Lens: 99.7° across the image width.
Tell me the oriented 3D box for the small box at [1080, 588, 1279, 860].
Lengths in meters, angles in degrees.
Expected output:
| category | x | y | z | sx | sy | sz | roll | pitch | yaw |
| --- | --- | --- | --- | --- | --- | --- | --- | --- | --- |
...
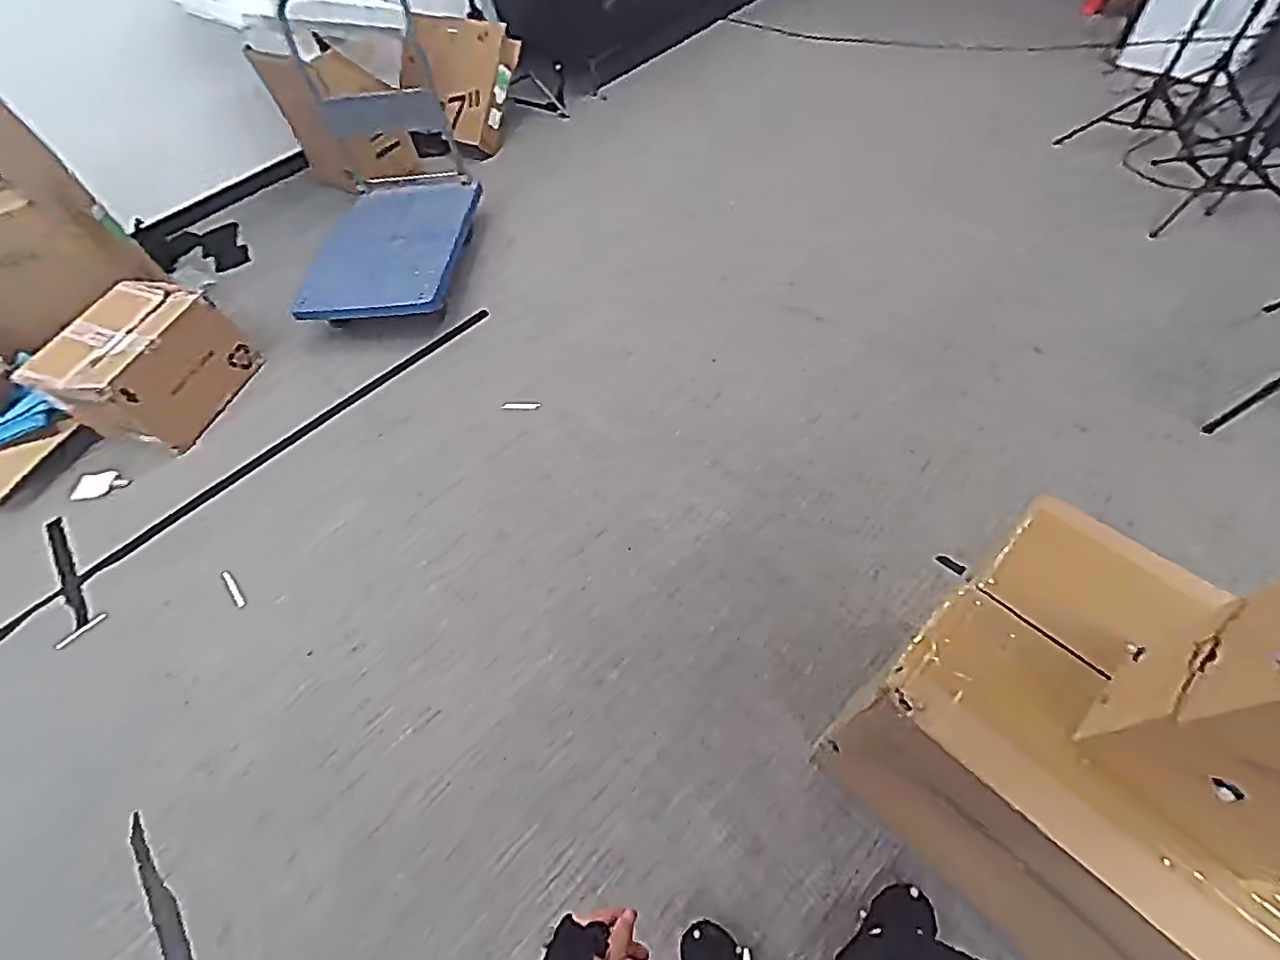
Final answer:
| category | x | y | z | sx | sy | sz | roll | pitch | yaw |
| --- | --- | --- | --- | --- | --- | --- | --- | --- | --- |
| small box | 0.601 | 0.247 | 0.539 | 0.168 | 0.176 | 0.179 | -40 | 60 | -17 |
